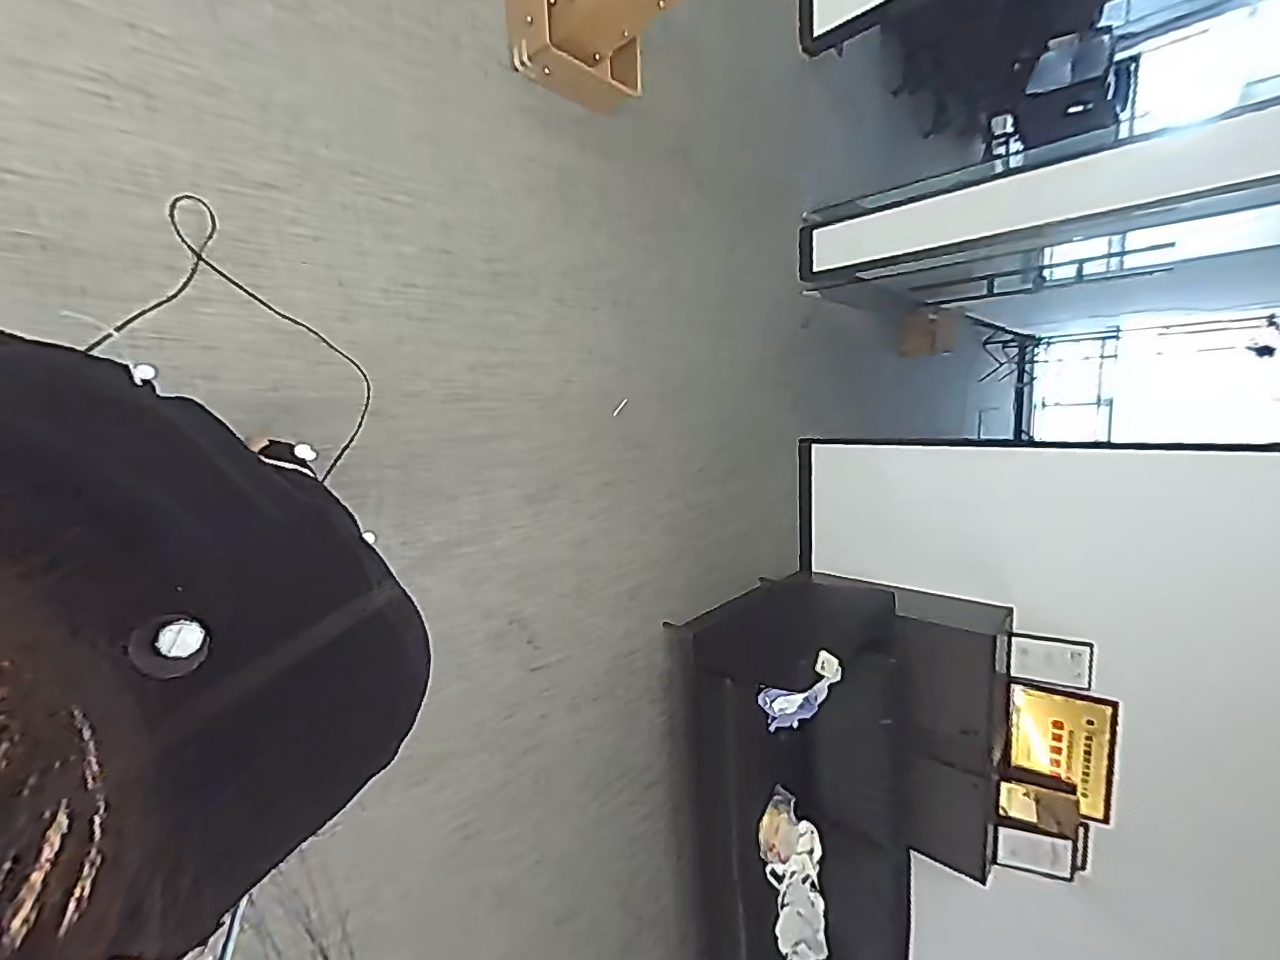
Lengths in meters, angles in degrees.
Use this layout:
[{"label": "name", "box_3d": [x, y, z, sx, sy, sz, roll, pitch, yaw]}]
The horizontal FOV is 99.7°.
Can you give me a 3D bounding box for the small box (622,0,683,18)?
[{"label": "small box", "box_3d": [0.029, -1.412, 1.465, 0.179, 0.176, 0.168, -6, 98, -46]}]
